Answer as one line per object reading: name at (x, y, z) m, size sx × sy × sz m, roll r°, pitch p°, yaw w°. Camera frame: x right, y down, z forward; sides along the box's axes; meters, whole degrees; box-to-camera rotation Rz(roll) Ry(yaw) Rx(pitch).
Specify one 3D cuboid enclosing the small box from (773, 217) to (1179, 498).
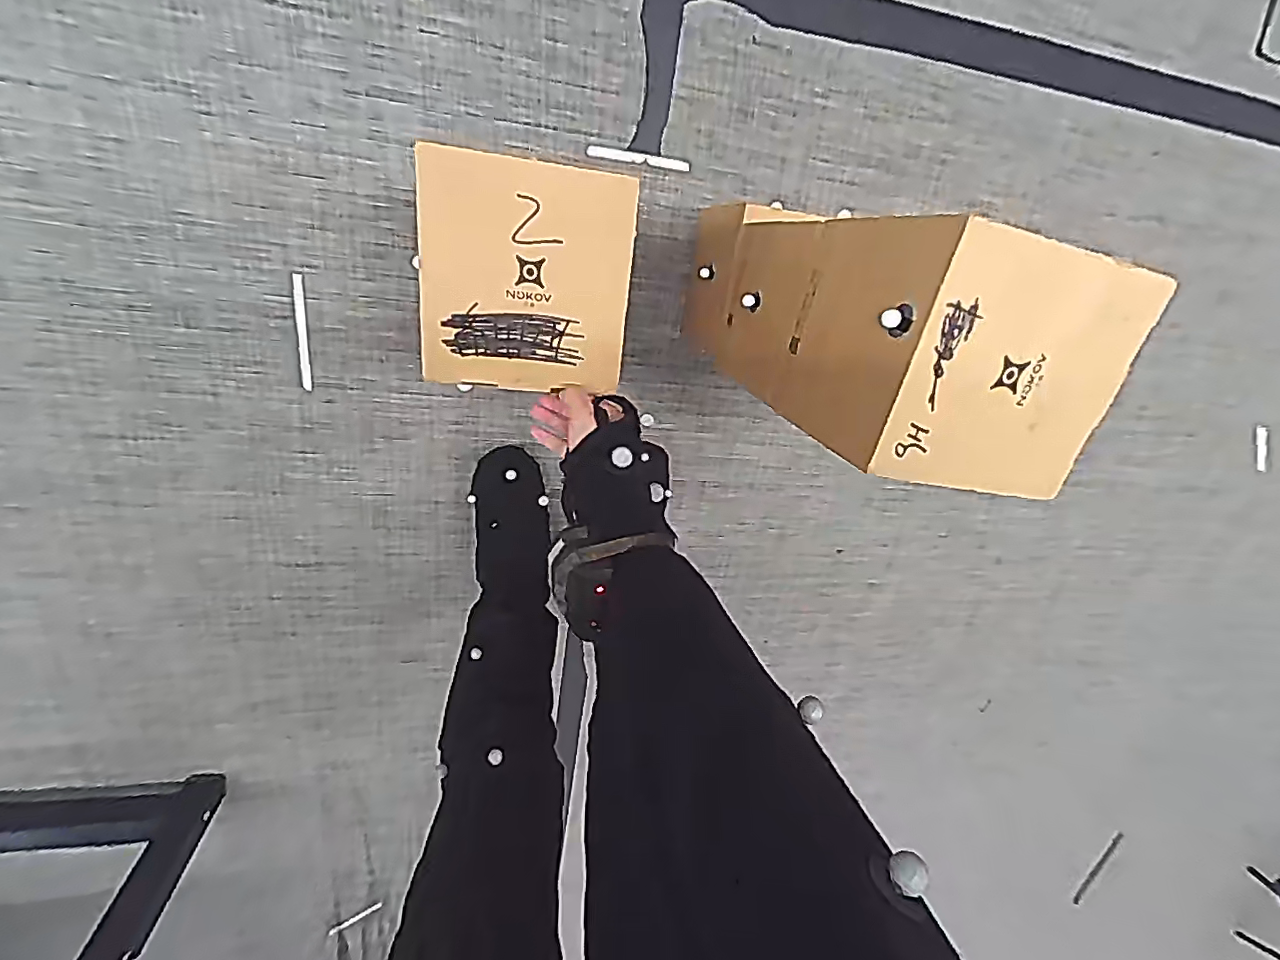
small box at (0.238, -0.102, 0.429) m, size 0.179 × 0.176 × 0.168 m, roll 7°, pitch 113°, yaw -17°

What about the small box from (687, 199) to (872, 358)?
small box at (0.169, -0.257, 0.712) m, size 0.168 × 0.176 × 0.179 m, roll 2°, pitch 113°, yaw -14°

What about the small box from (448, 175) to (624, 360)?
small box at (-0.128, -0.251, 0.649) m, size 0.179 × 0.176 × 0.168 m, roll 3°, pitch 114°, yaw -15°

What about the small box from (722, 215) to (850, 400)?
small box at (0.205, -0.173, 0.574) m, size 0.179 × 0.176 × 0.168 m, roll 4°, pitch 114°, yaw -15°
